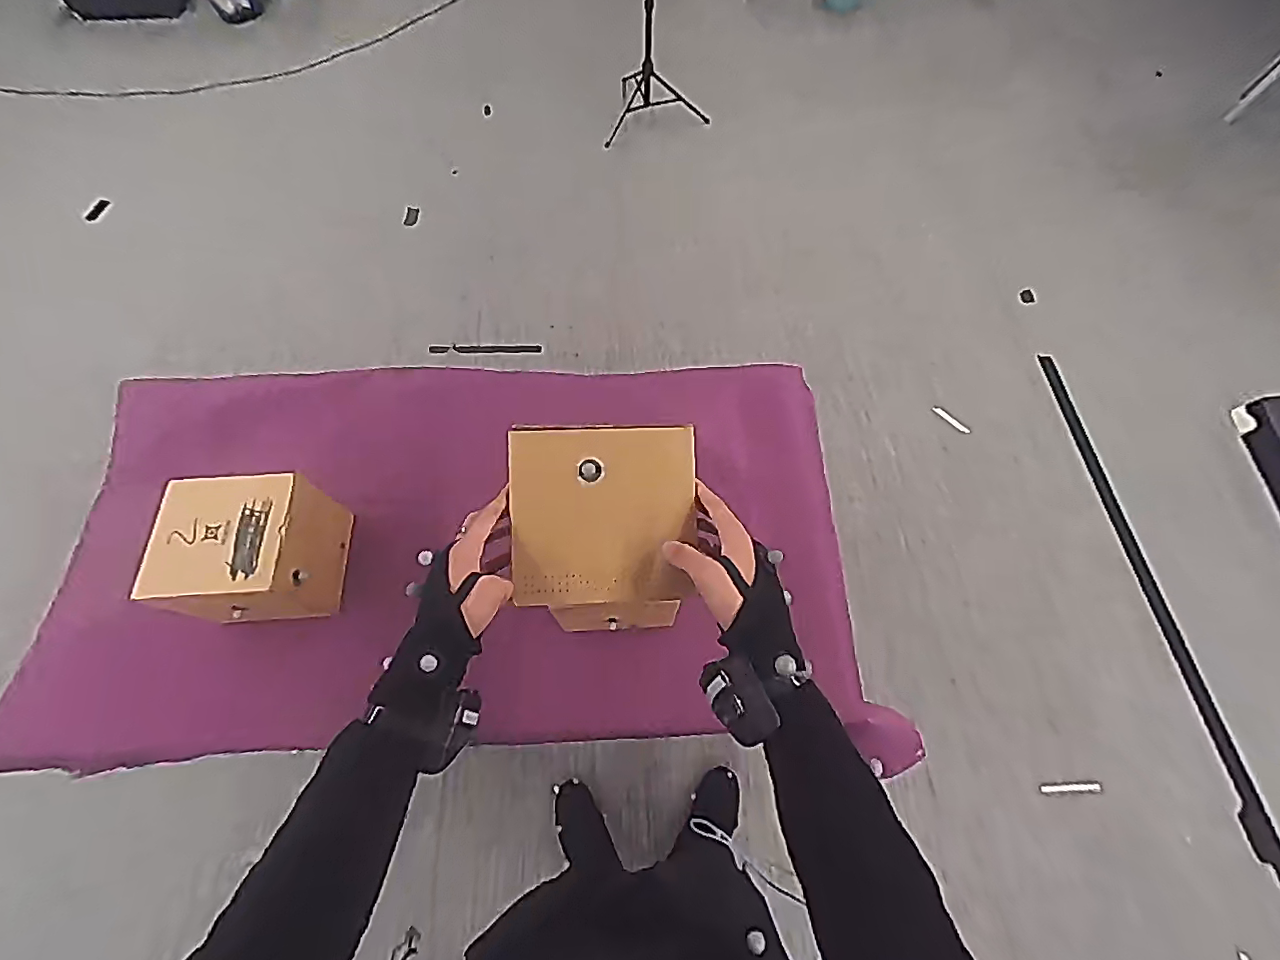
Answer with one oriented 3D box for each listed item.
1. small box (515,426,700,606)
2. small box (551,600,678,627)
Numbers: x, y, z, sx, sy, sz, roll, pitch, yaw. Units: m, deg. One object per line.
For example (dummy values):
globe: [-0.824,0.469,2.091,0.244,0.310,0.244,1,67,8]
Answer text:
small box: [-0.034,0.043,0.588,0.179,0.168,0.176,-1,85,-3]
small box: [-0.033,0.115,0.785,0.168,0.176,0.179,-2,65,-1]
